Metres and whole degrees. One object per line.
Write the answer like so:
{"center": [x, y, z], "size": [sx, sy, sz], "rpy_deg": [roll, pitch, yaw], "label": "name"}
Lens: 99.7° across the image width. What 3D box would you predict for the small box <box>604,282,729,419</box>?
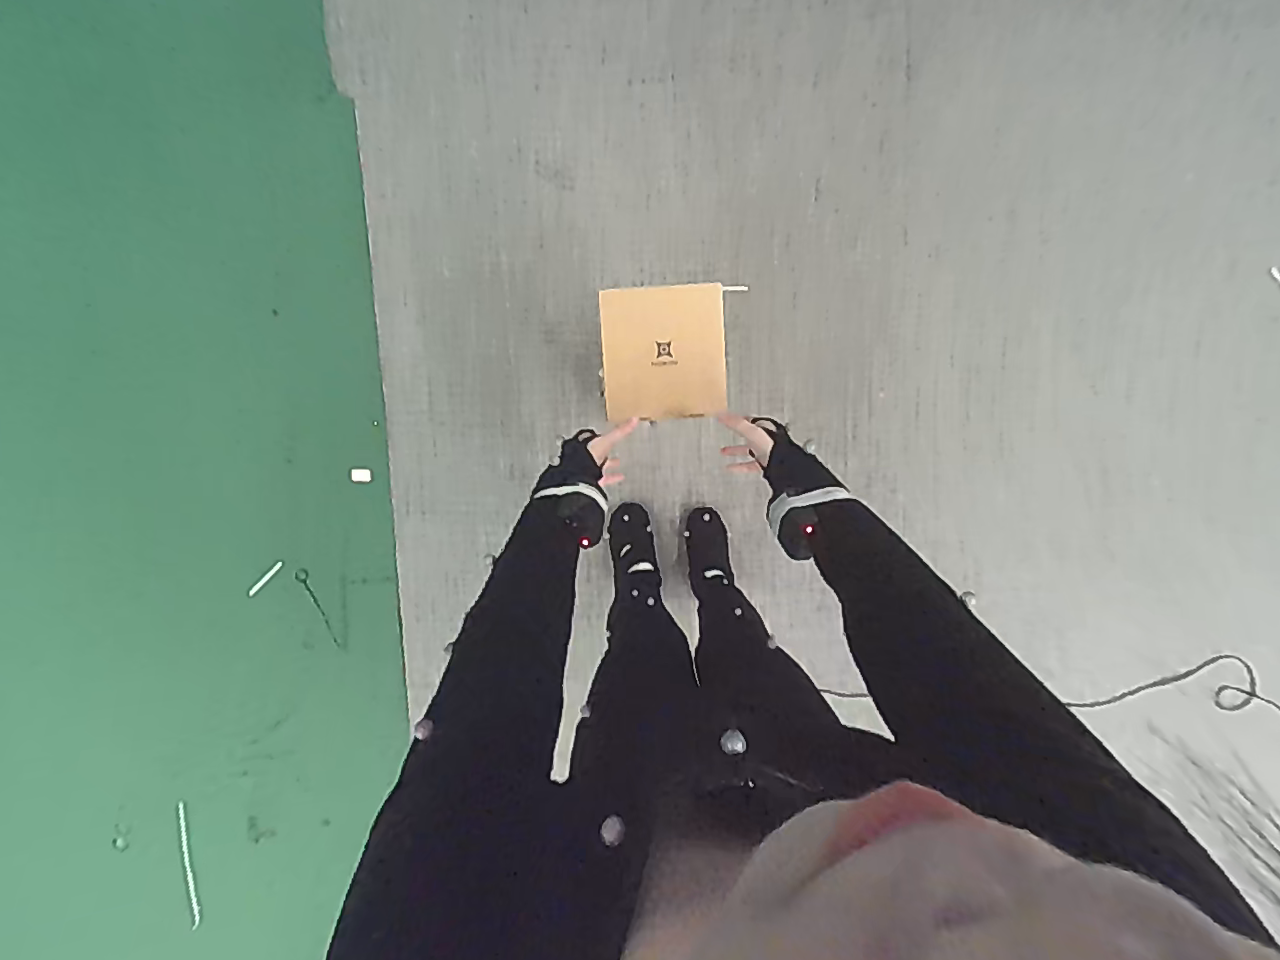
{"center": [0.035, -0.181, 0.803], "size": [0.168, 0.176, 0.179], "rpy_deg": [-4, 97, 0], "label": "small box"}
